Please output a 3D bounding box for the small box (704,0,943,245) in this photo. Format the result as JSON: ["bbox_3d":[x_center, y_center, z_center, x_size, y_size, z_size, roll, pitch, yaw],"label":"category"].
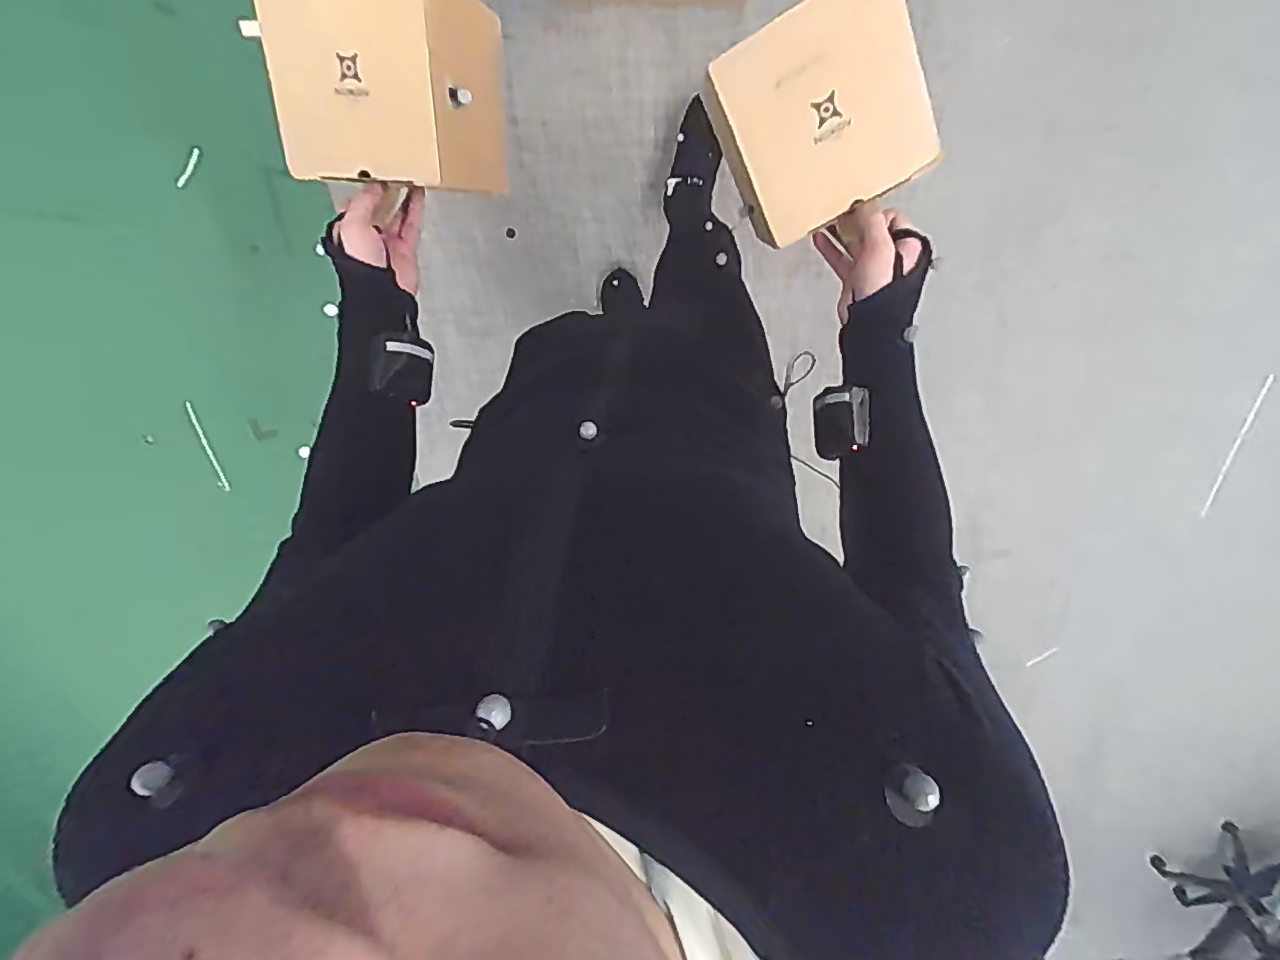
[{"bbox_3d":[0.174,-0.368,0.552,0.168,0.176,0.179,-23,114,14],"label":"small box"}]

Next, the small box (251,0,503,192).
[{"bbox_3d":[-0.251,-0.404,0.556,0.168,0.176,0.179,7,117,7],"label":"small box"}]
